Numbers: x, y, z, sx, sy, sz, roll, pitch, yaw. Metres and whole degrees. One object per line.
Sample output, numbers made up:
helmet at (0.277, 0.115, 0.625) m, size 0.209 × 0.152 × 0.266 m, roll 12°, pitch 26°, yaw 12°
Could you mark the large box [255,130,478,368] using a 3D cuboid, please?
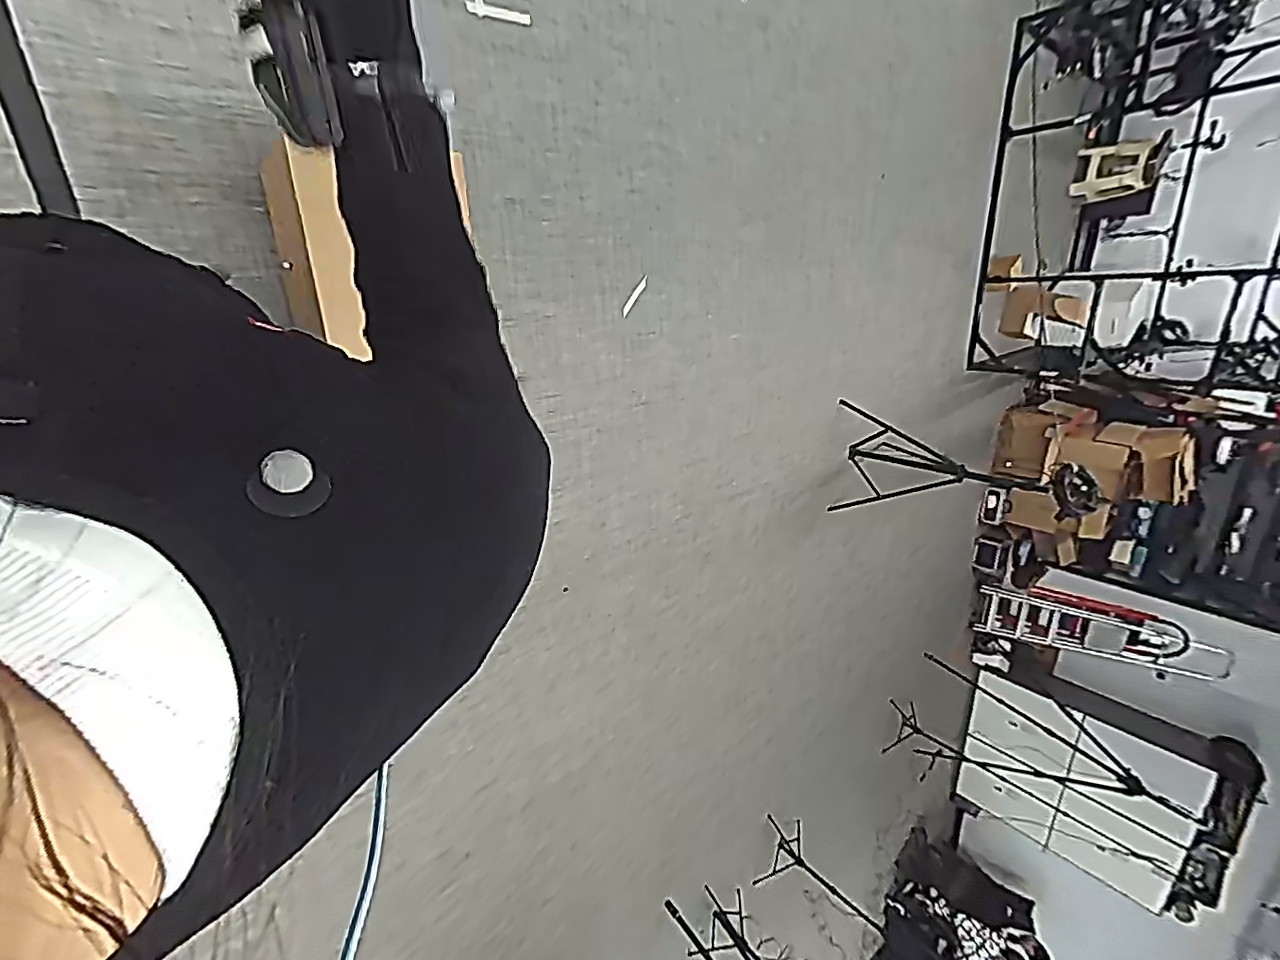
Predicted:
large box at (-0.587, -0.469, 1.172) m, size 0.320 × 0.320 × 0.408 m, roll -18°, pitch 113°, yaw -39°
